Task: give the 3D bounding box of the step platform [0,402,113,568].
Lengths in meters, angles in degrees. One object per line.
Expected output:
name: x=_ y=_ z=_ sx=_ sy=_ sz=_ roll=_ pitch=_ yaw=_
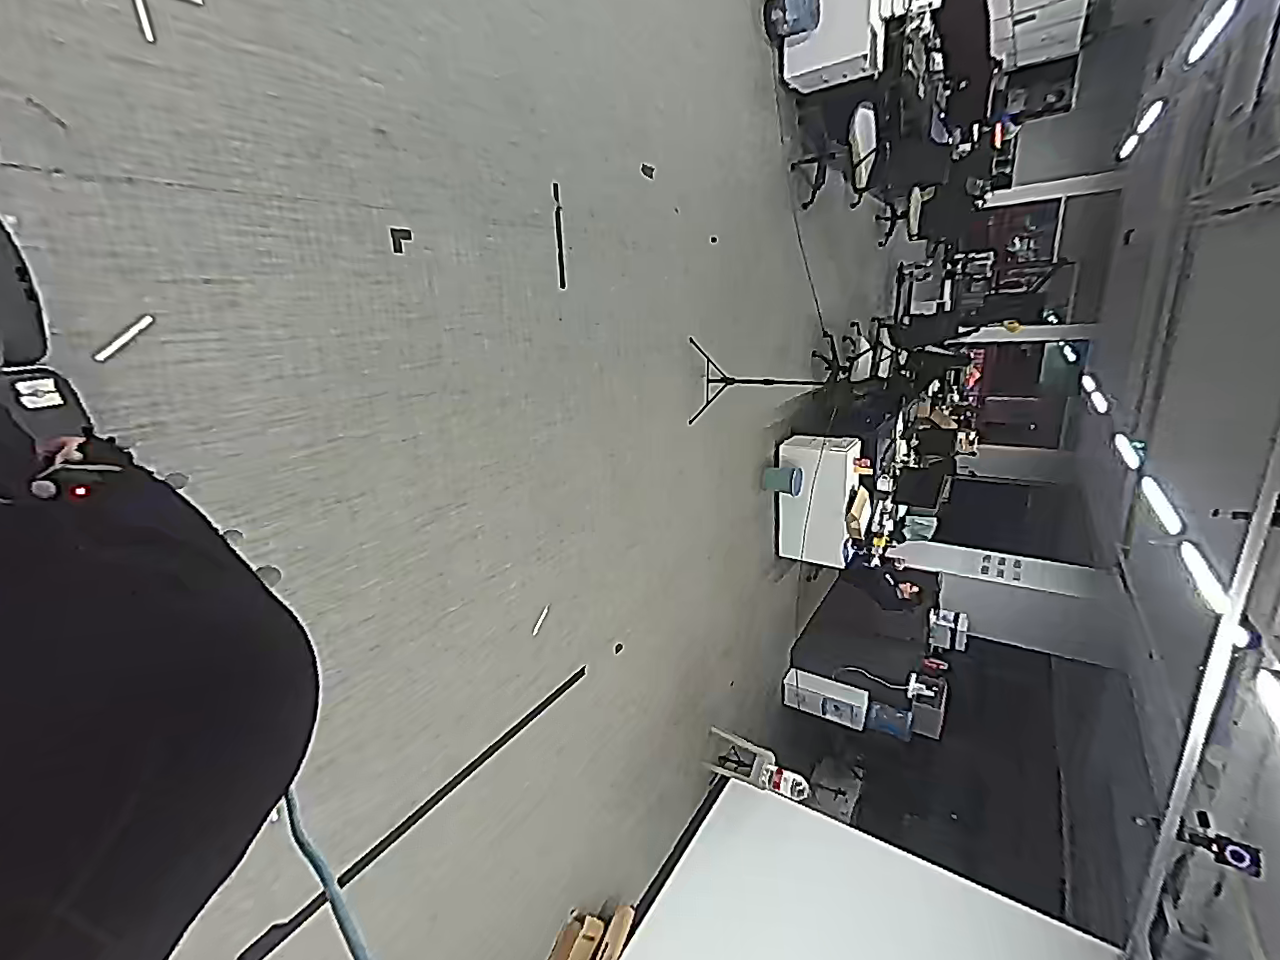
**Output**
step platform: x=-1.281 y=0.045 z=0.824 sx=0.684 sy=0.204 sz=0.286 roll=-18 pitch=109 yaw=-52
